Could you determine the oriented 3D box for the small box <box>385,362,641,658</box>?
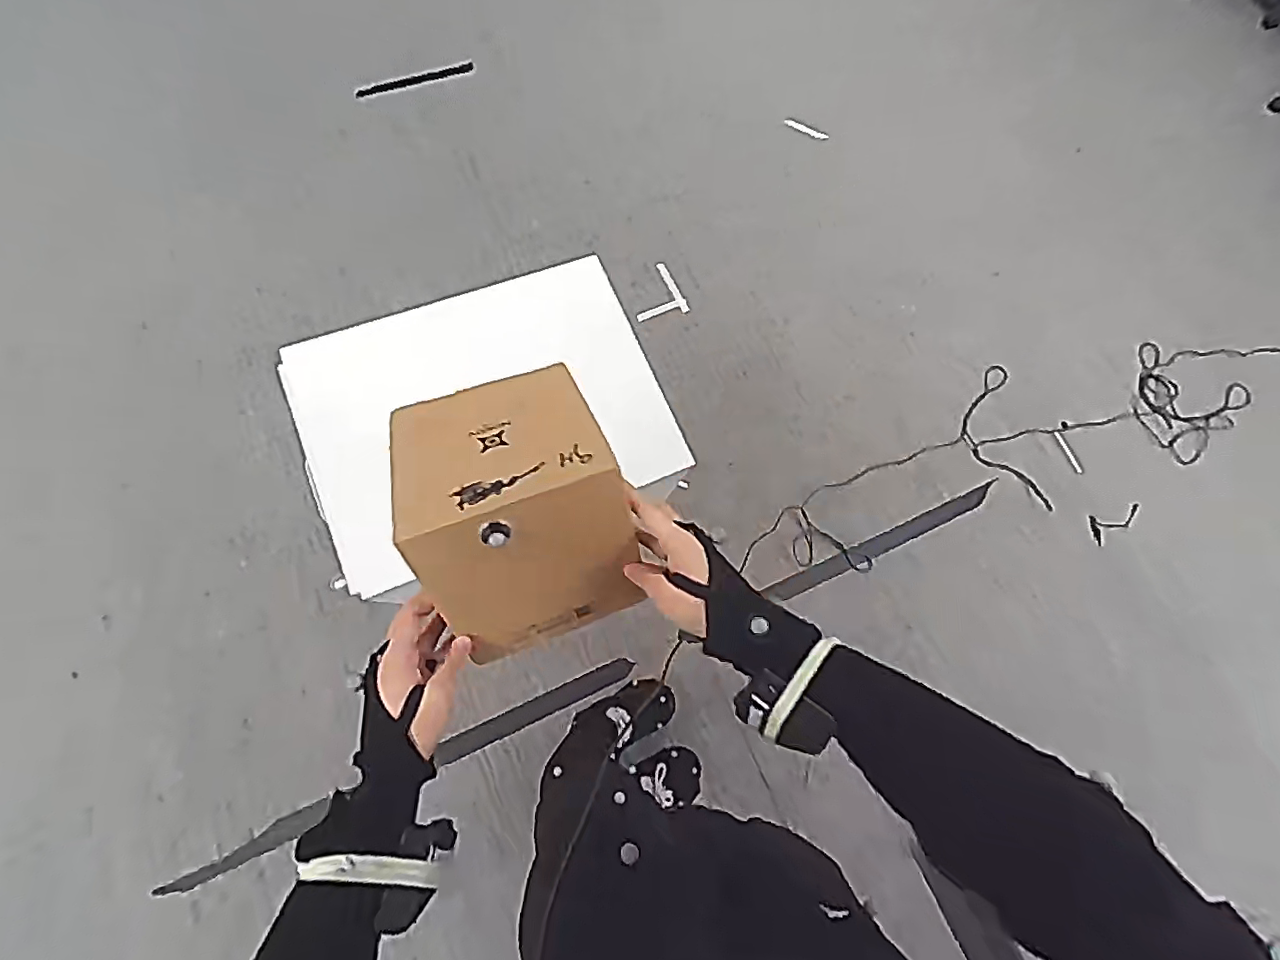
[{"bbox_3d":[-0.111,0.023,0.490,0.168,0.176,0.179,-20,42,-9],"label":"small box"}]
